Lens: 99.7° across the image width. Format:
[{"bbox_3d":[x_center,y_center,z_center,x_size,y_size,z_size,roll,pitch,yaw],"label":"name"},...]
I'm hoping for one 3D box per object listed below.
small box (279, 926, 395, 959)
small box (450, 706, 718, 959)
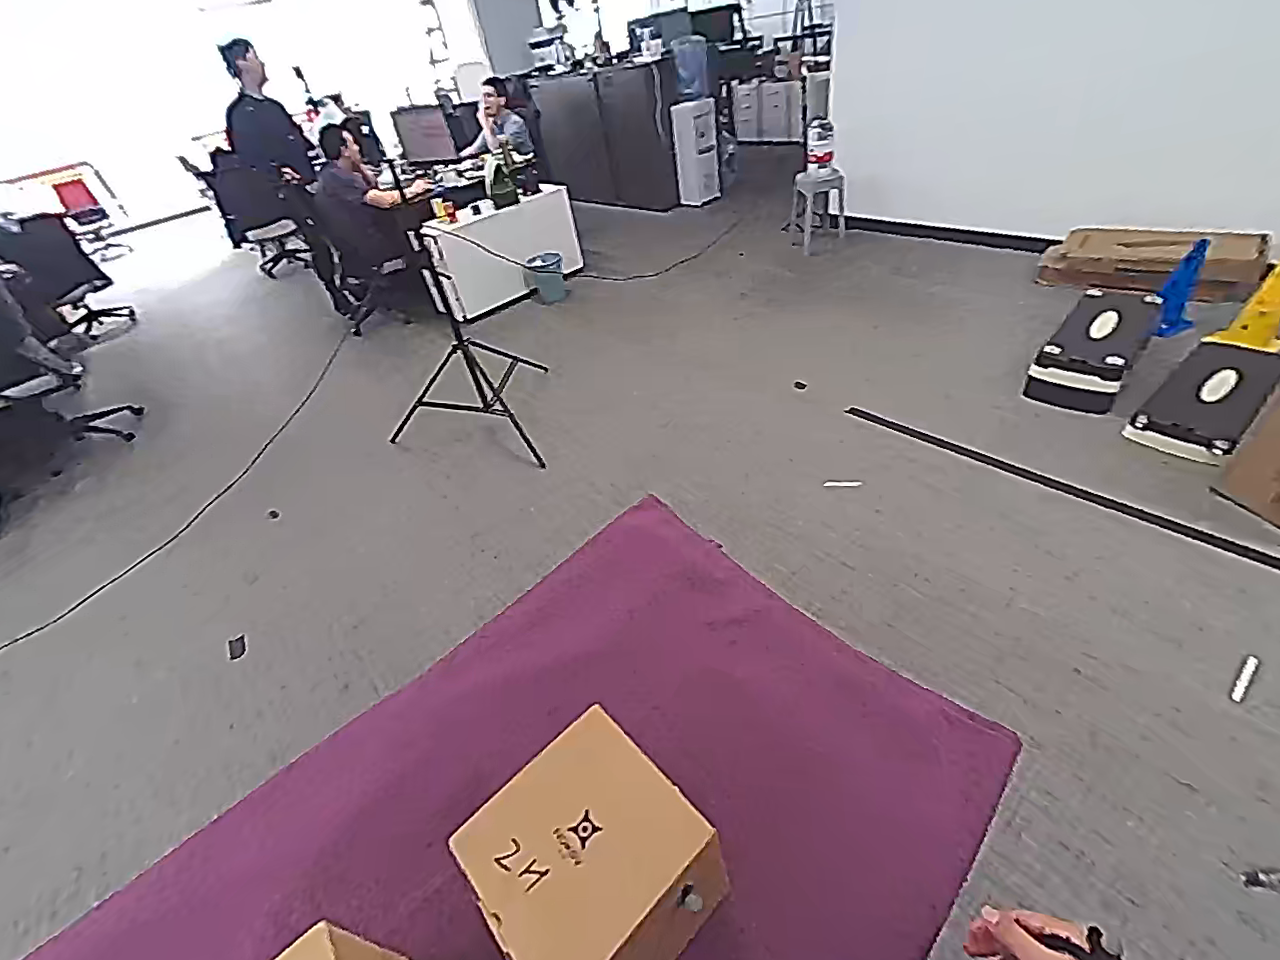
[{"bbox_3d":[-0.261,0.504,0.412,0.179,0.176,0.168,-35,45,-24],"label":"small box"},{"bbox_3d":[-0.040,0.365,0.511,0.179,0.176,0.168,-36,43,-25],"label":"small box"}]
